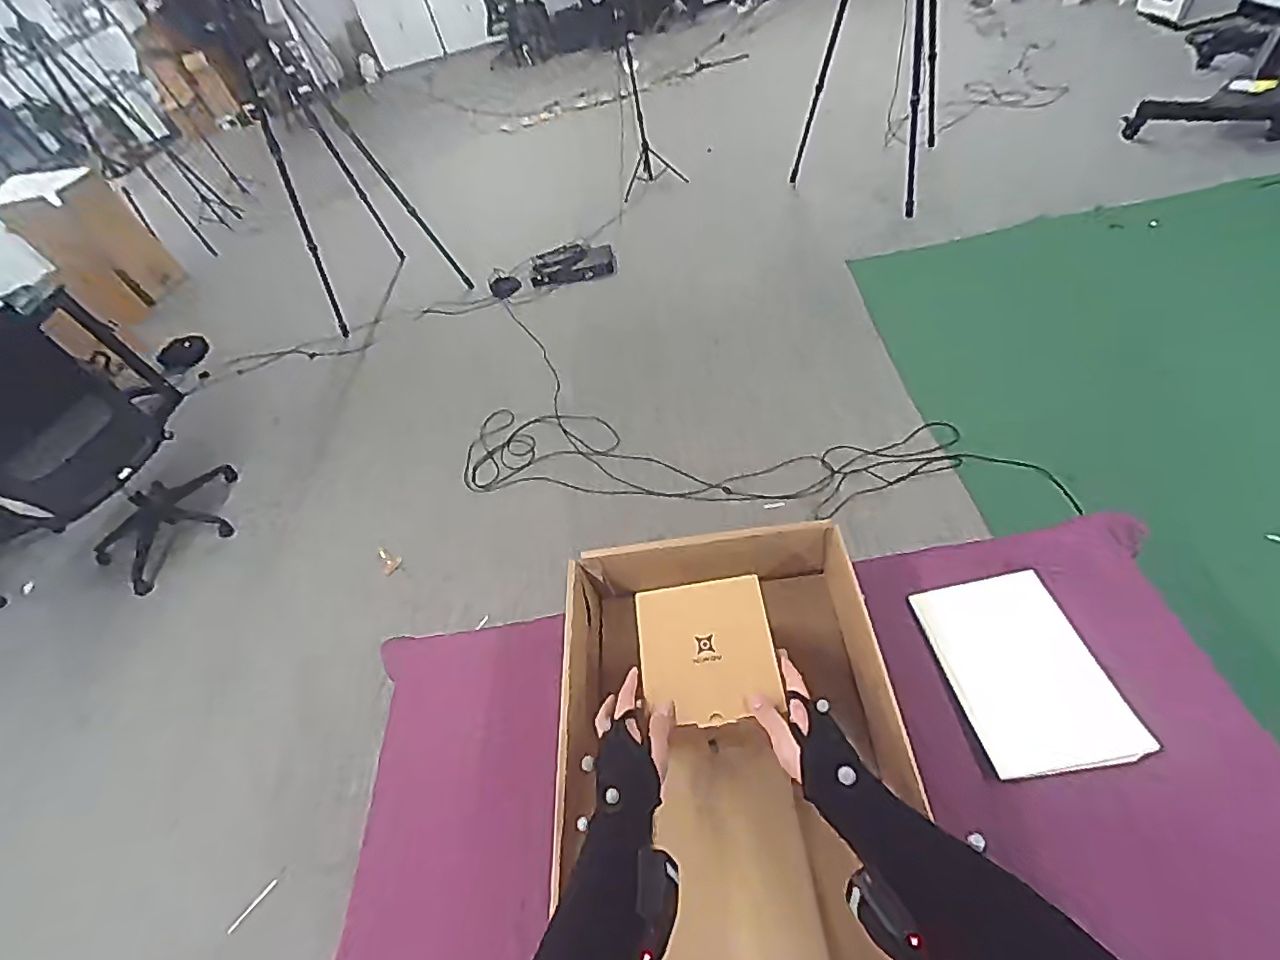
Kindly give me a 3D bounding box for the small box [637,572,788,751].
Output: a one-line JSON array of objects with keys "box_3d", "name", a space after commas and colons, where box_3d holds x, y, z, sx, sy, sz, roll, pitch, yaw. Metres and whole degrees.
[{"box_3d": [0.095, 0.249, 0.730, 0.168, 0.176, 0.179, -11, 54, 6], "name": "small box"}]
